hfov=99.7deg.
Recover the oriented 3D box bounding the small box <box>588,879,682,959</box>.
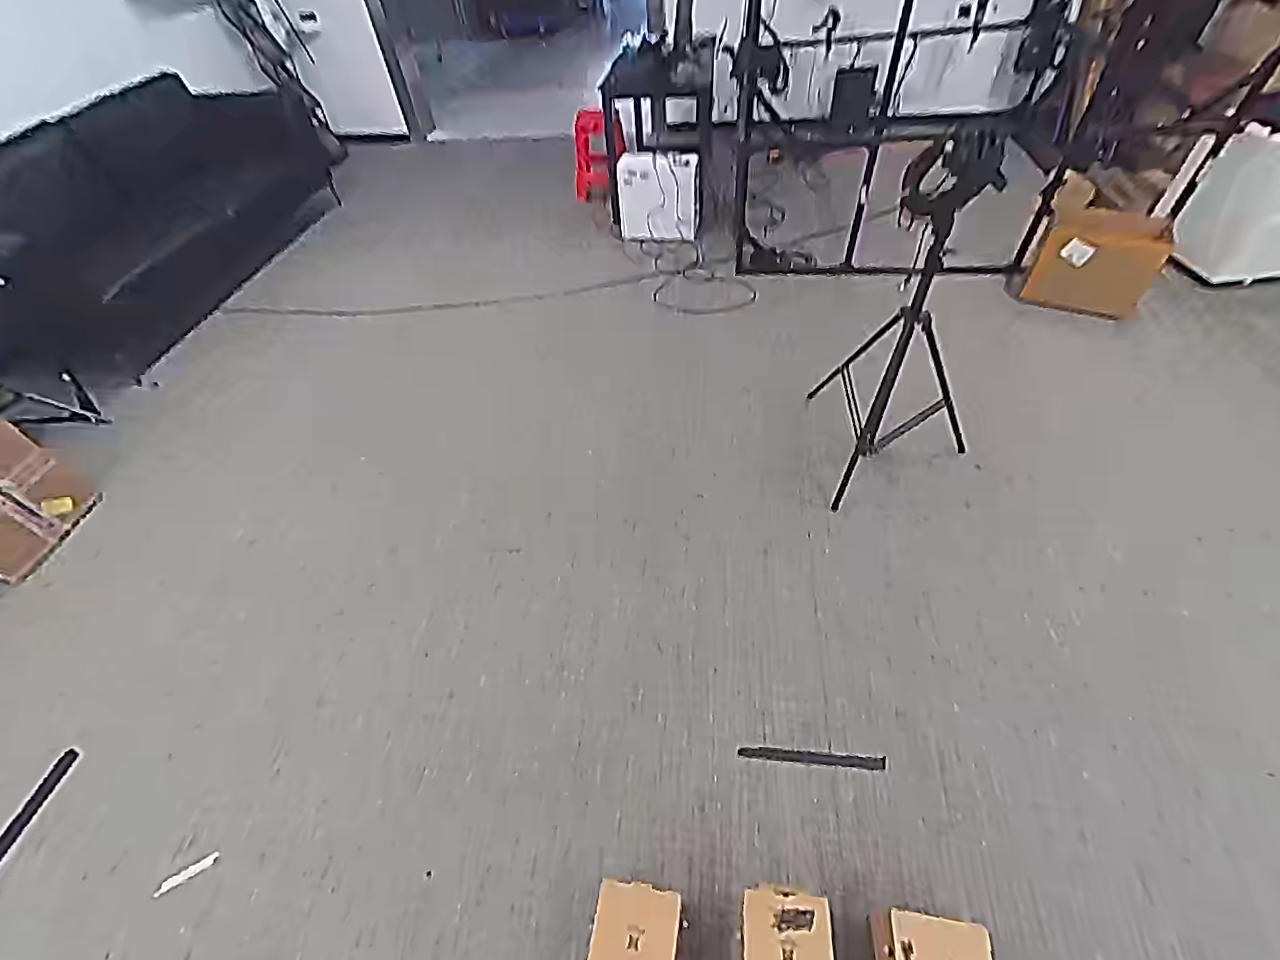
[{"bbox_3d":[-0.006,0.937,1.092,0.168,0.176,0.179,4,50,10],"label":"small box"}]

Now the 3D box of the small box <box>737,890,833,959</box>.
[{"bbox_3d":[0.280,0.934,1.064,0.168,0.176,0.179,2,49,7],"label":"small box"}]

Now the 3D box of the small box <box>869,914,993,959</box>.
[{"bbox_3d":[0.554,0.950,1.028,0.179,0.176,0.168,6,49,9],"label":"small box"}]
